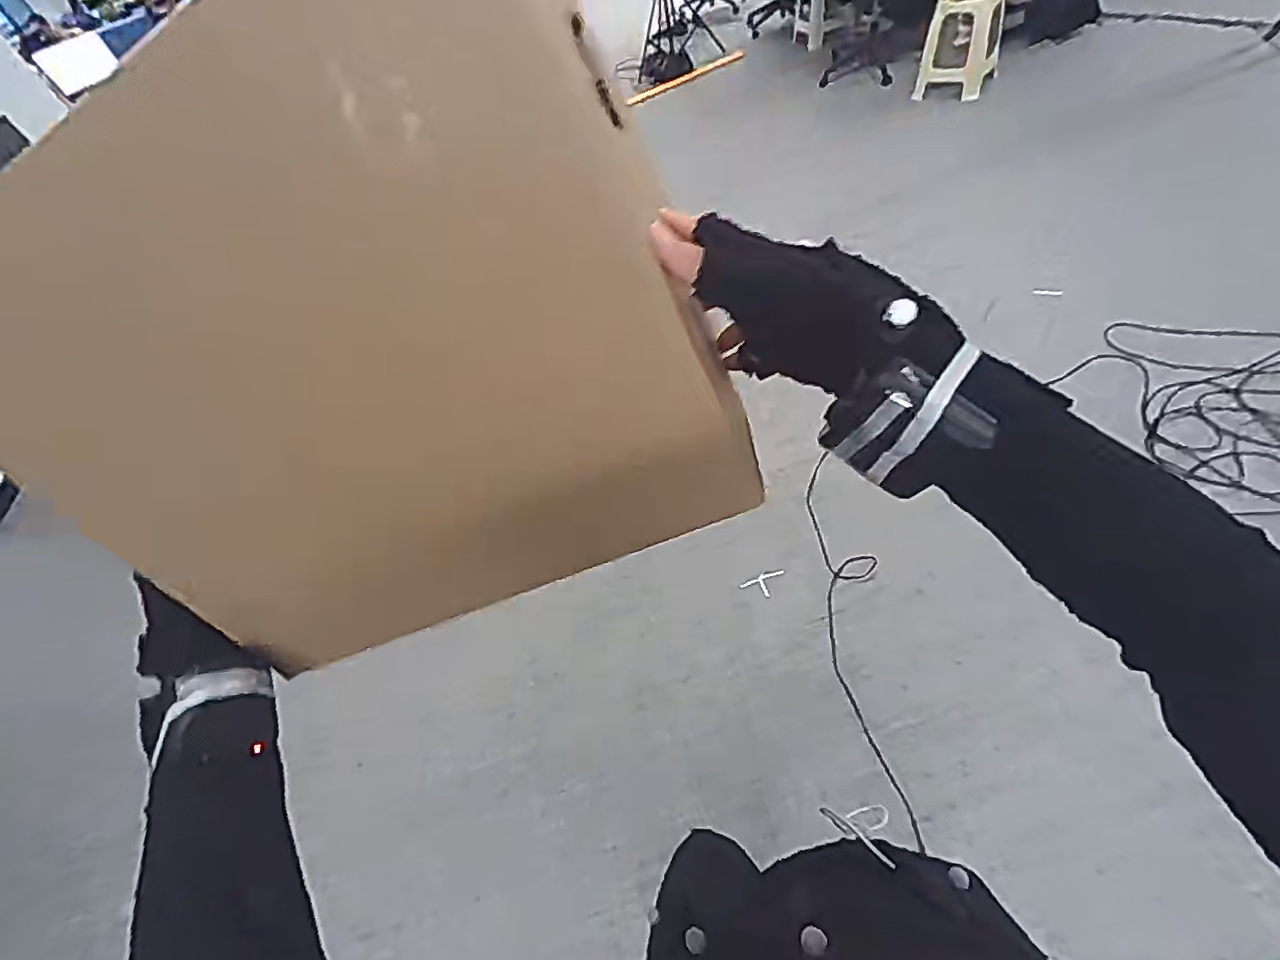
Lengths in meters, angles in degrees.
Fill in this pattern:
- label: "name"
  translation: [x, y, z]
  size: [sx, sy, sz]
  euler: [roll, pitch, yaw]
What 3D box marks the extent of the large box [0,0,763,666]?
- label: "large box"
  translation: [-0.159, -0.110, 0.439]
  size: [0.408, 0.320, 0.320]
  euler: [-22, 31, 16]
